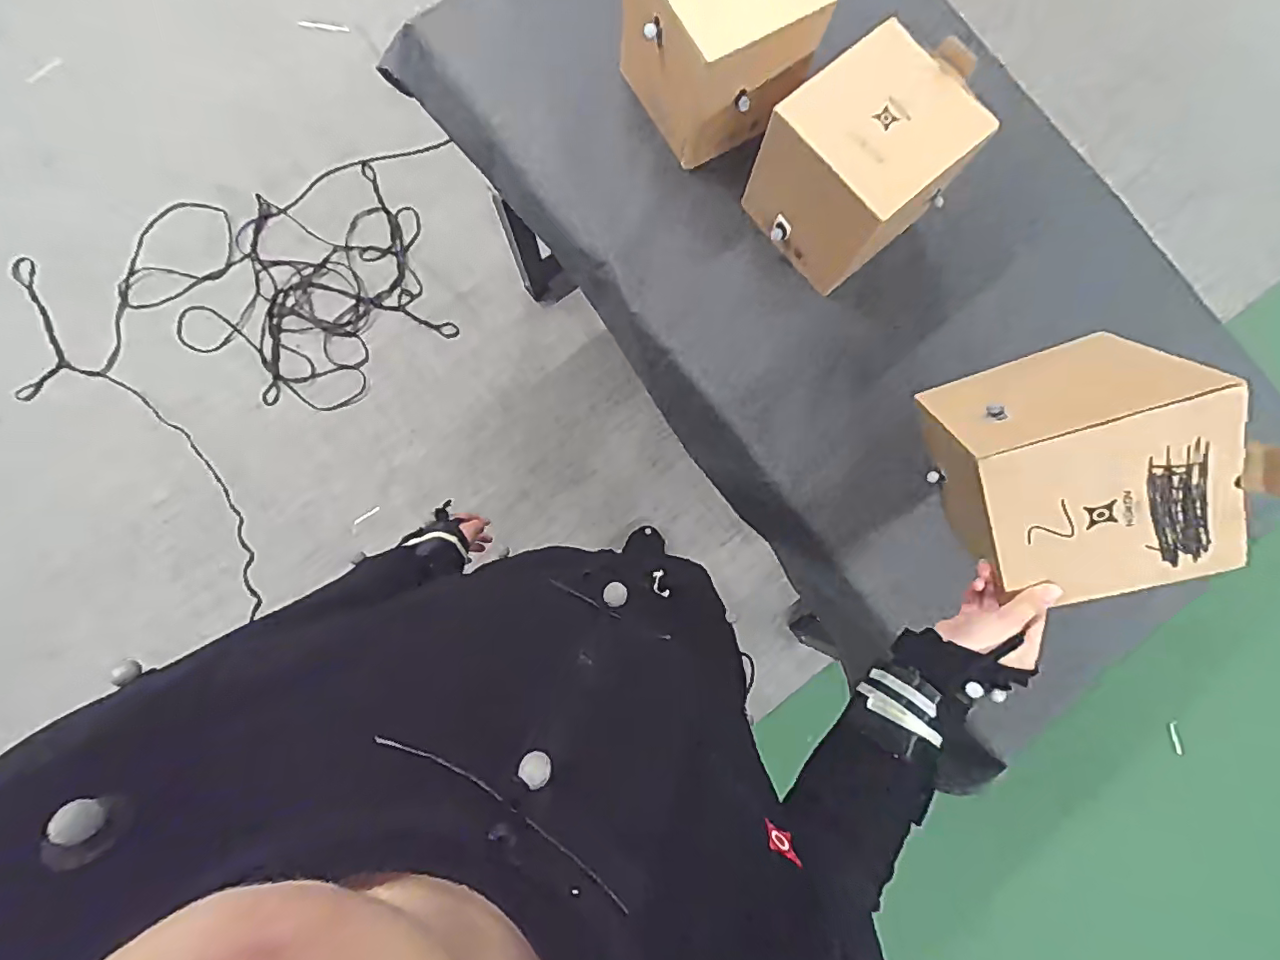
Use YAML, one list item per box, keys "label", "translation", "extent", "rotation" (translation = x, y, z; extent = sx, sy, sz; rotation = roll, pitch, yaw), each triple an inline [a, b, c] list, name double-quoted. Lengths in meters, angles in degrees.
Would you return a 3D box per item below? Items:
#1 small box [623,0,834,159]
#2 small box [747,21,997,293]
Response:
- label: "small box"
  translation: [0.091, -0.526, 0.648]
  extent: [0.168, 0.176, 0.179]
  rotation: [-30, 85, -6]
- label: "small box"
  translation: [0.252, -0.361, 0.635]
  extent: [0.179, 0.176, 0.168]
  rotation: [-41, 85, -7]
